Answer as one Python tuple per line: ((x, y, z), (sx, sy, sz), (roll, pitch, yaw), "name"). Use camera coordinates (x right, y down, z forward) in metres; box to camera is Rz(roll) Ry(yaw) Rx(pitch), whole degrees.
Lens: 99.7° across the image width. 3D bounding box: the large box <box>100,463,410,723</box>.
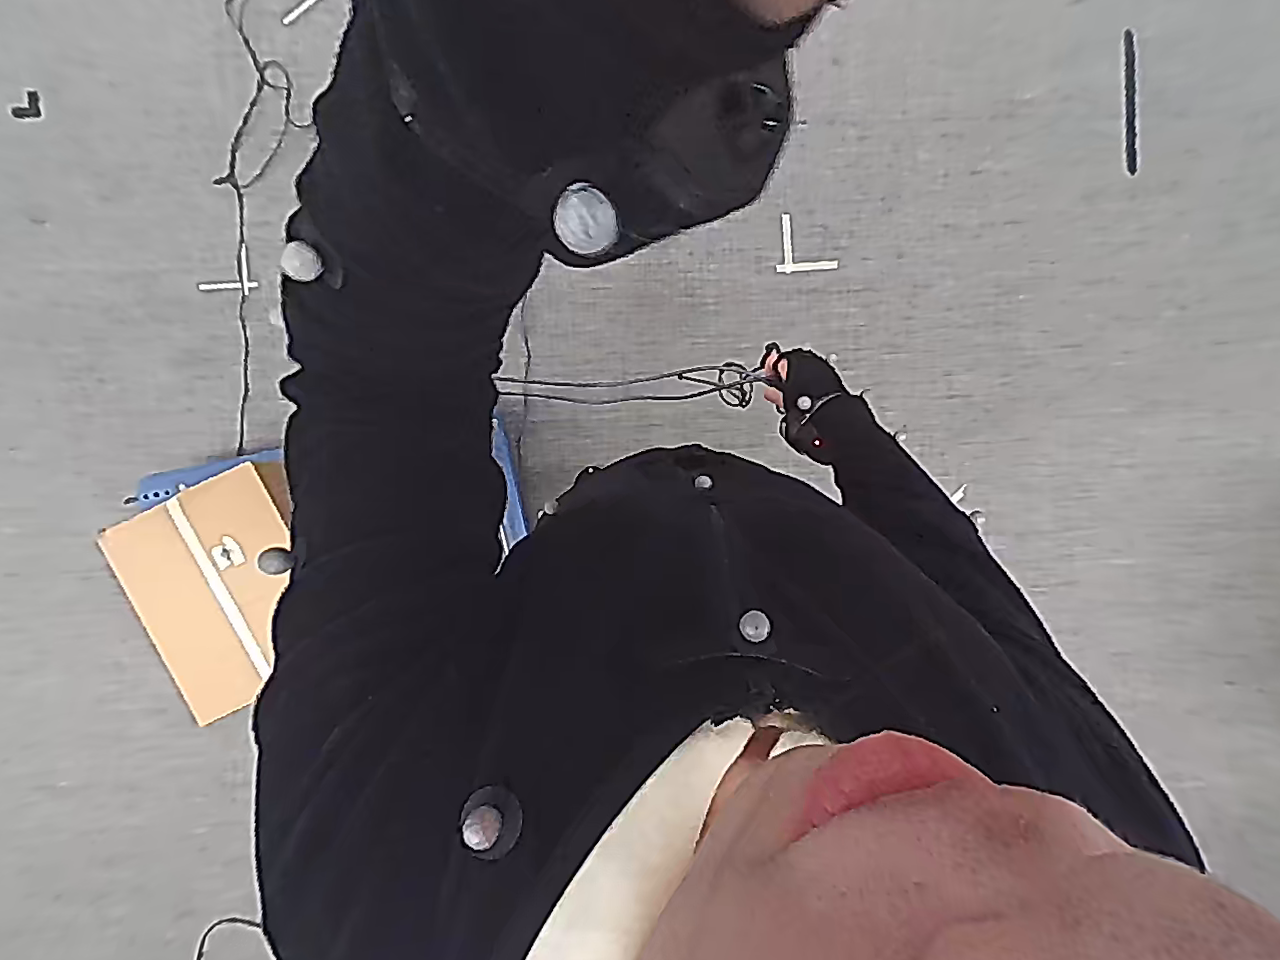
((-0.768, 0.208, 1.145), (0.320, 0.320, 0.408), (-26, 92, -2), "large box")
